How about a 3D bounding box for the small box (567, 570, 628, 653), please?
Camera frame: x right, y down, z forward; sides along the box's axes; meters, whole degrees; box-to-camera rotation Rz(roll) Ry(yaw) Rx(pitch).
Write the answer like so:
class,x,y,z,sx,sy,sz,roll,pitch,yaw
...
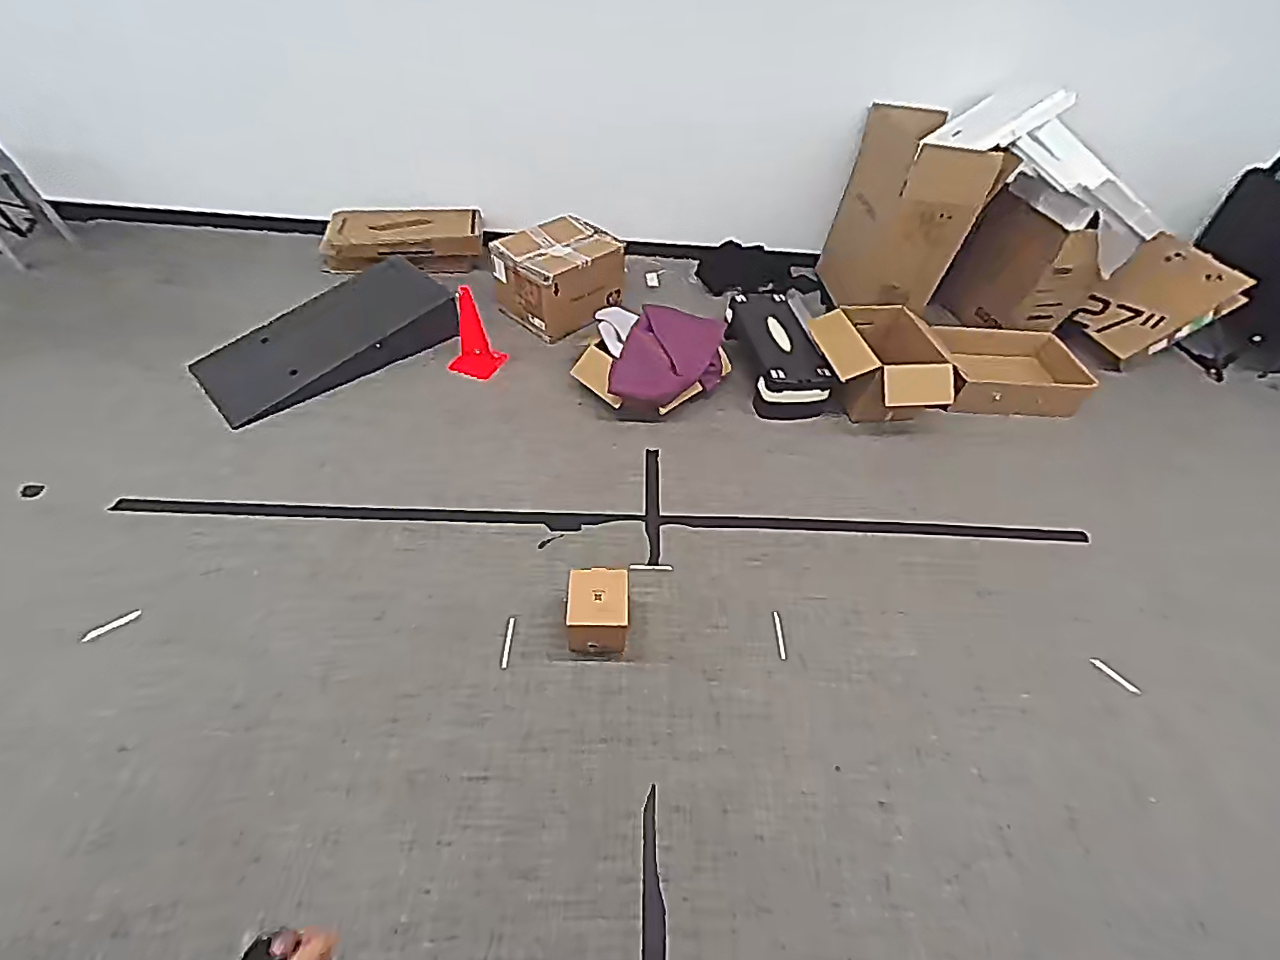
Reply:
class,x,y,z,sx,sy,sz,roll,pitch,yaw
small box,-0.120,0.375,1.542,0.168,0.176,0.179,1,50,-4
